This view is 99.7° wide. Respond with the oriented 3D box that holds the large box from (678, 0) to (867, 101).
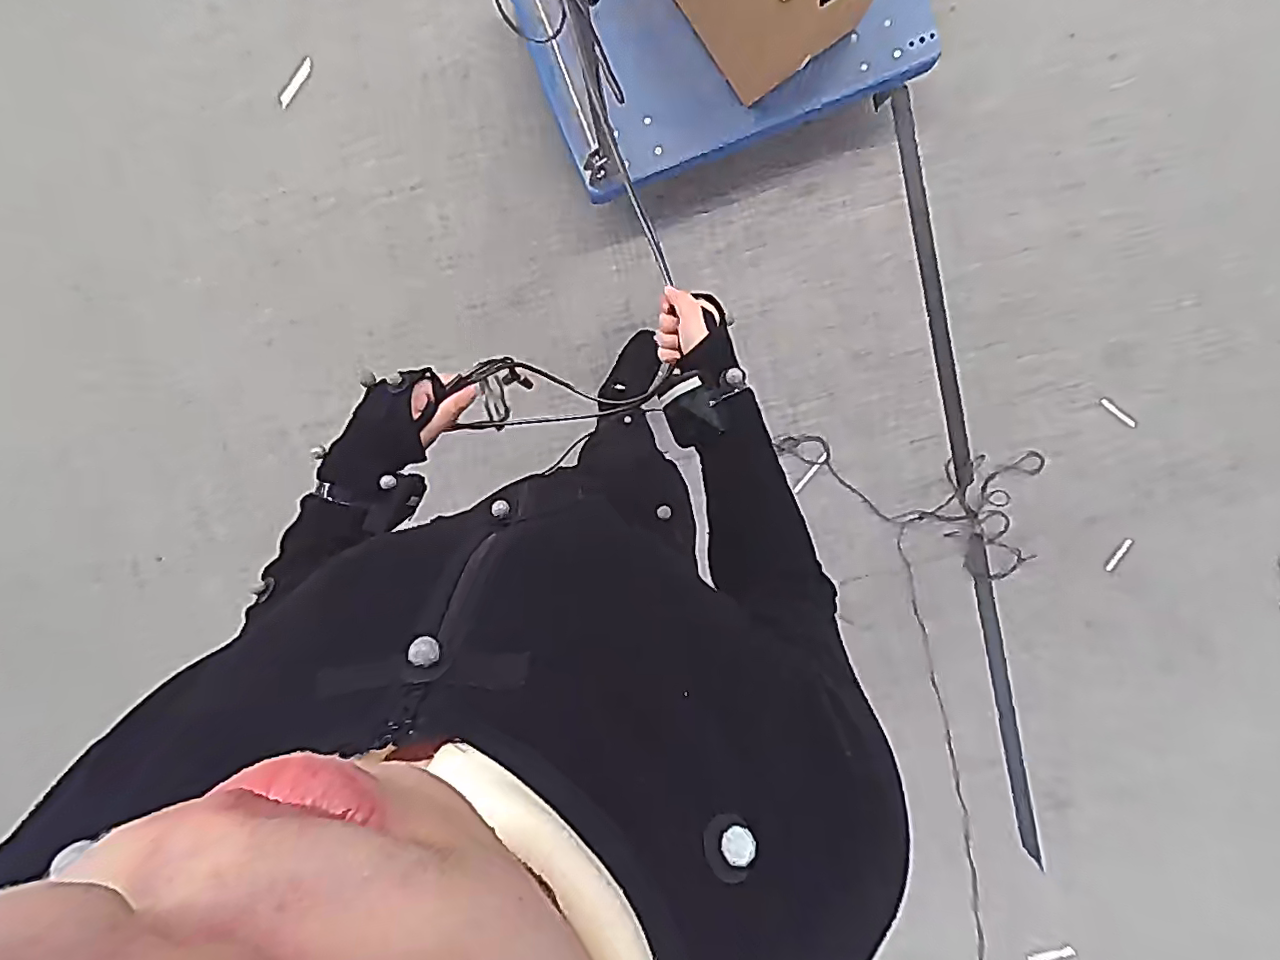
[{"bbox_3d":[0.248,-1.077,1.043,0.320,0.320,0.408,-36,96,3],"label":"large box"}]
